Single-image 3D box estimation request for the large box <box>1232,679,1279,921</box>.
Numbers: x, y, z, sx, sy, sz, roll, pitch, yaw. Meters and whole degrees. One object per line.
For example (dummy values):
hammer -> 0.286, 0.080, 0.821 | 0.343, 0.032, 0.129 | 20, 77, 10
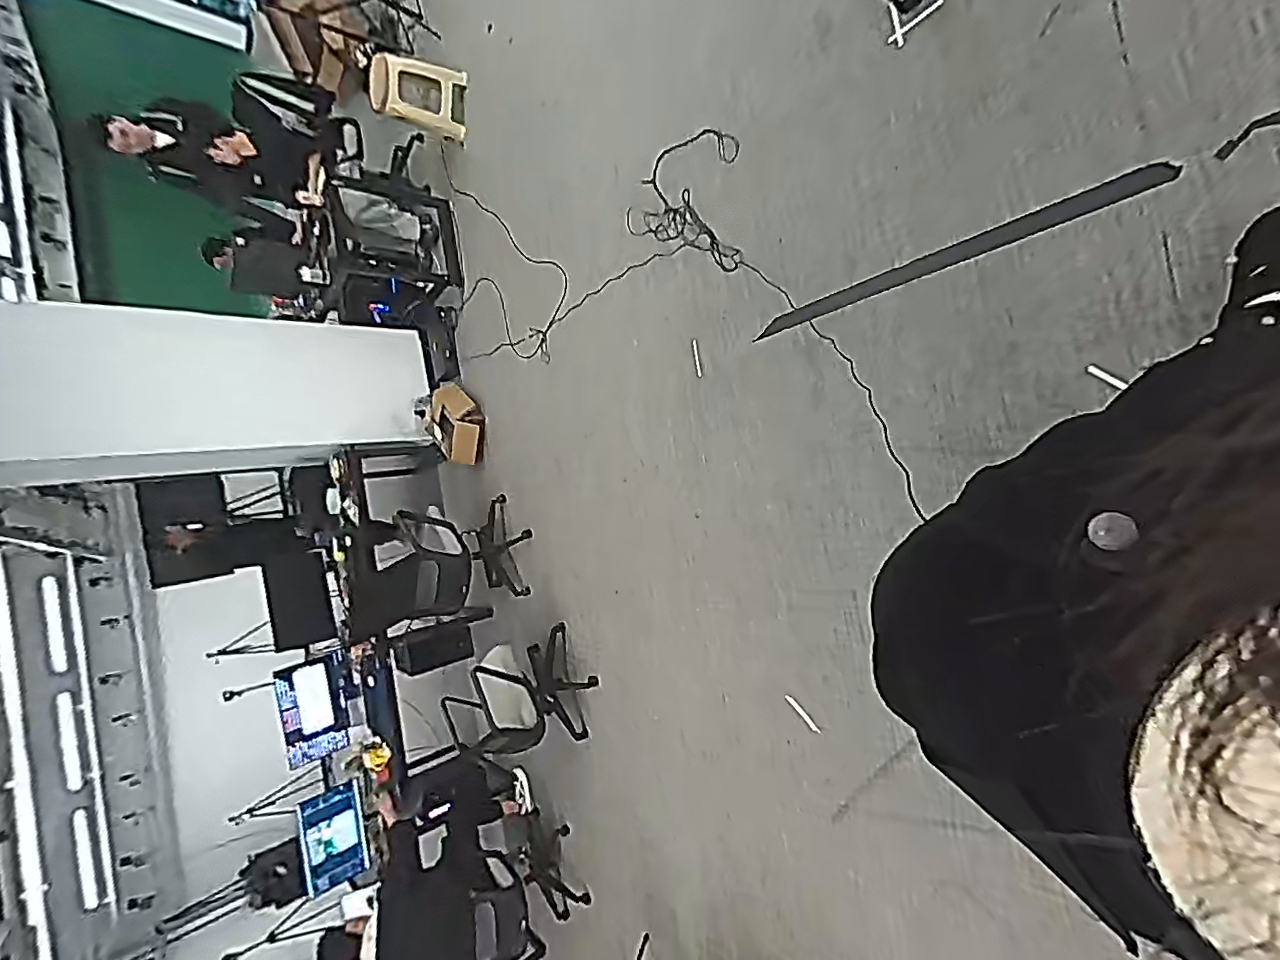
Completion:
large box -> 1.062, 0.460, 0.665 | 0.408, 0.320, 0.320 | -15, 85, 49
